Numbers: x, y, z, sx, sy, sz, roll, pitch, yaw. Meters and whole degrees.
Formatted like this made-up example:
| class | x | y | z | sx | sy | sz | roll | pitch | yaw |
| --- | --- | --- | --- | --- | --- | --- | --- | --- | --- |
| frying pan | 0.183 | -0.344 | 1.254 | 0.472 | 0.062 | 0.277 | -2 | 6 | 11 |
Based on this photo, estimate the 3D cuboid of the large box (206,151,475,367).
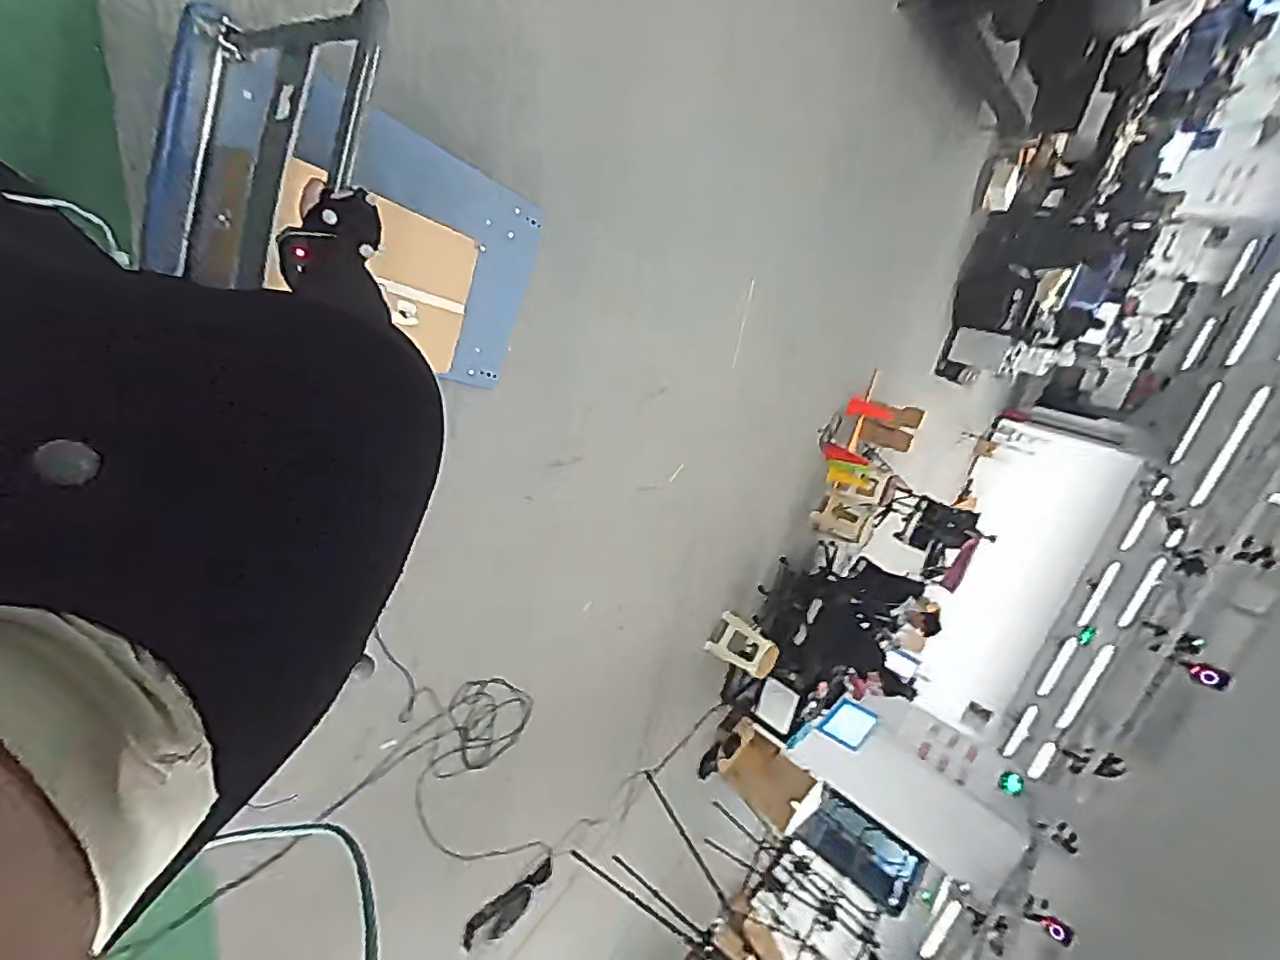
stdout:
| class | x | y | z | sx | sy | sz | roll | pitch | yaw |
| --- | --- | --- | --- | --- | --- | --- | --- | --- | --- |
| large box | -0.645 | -0.464 | 1.176 | 0.408 | 0.320 | 0.320 | 2 | 110 | -53 |
